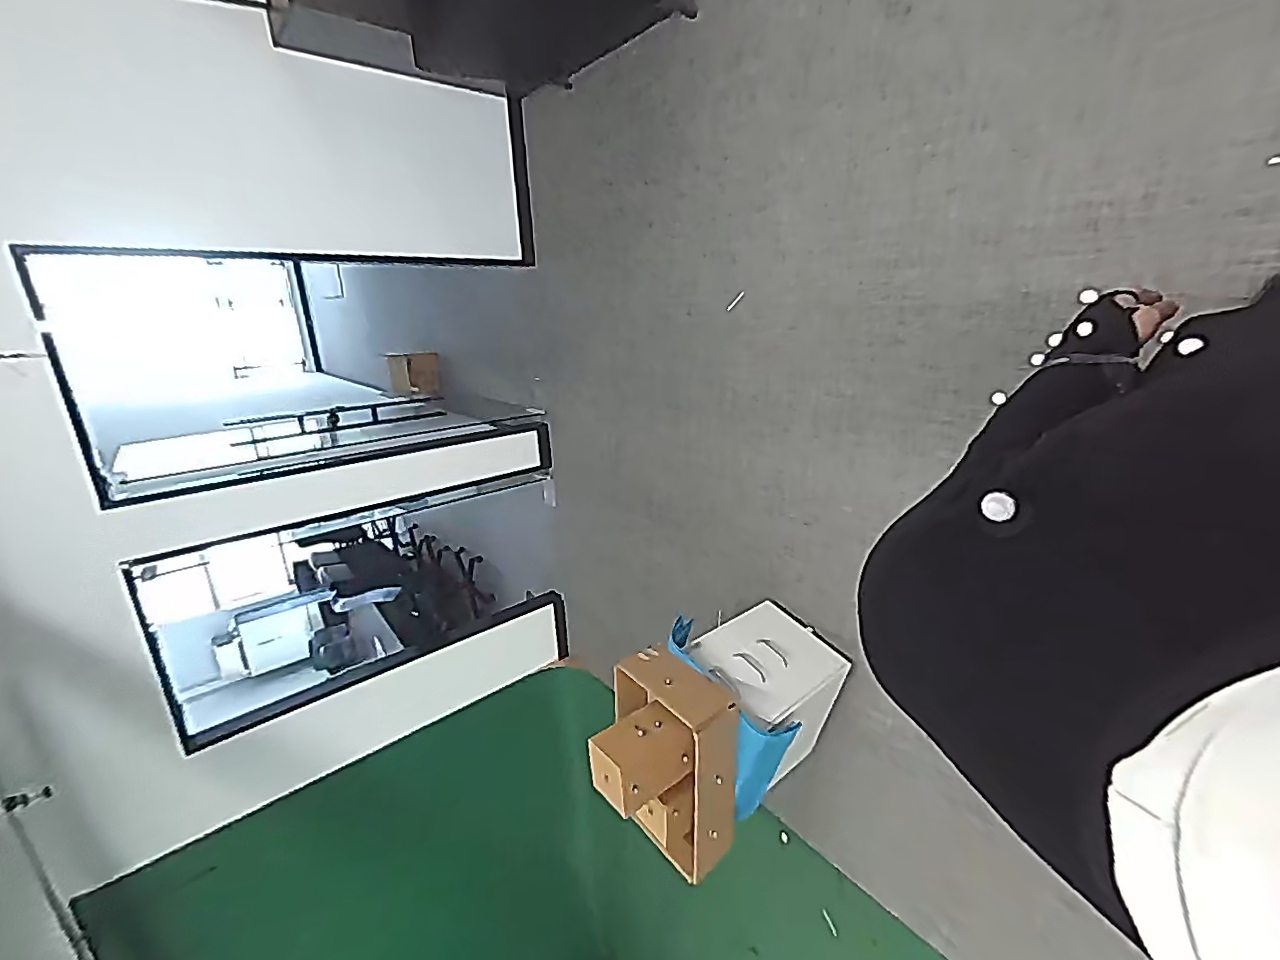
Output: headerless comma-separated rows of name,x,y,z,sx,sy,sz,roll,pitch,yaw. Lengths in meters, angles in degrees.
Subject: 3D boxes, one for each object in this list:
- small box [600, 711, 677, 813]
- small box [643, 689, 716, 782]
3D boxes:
small box,-0.001,0.843,1.633,0.168,0.176,0.179,15,114,51
small box,0.129,0.807,1.724,0.168,0.176,0.179,17,117,51
